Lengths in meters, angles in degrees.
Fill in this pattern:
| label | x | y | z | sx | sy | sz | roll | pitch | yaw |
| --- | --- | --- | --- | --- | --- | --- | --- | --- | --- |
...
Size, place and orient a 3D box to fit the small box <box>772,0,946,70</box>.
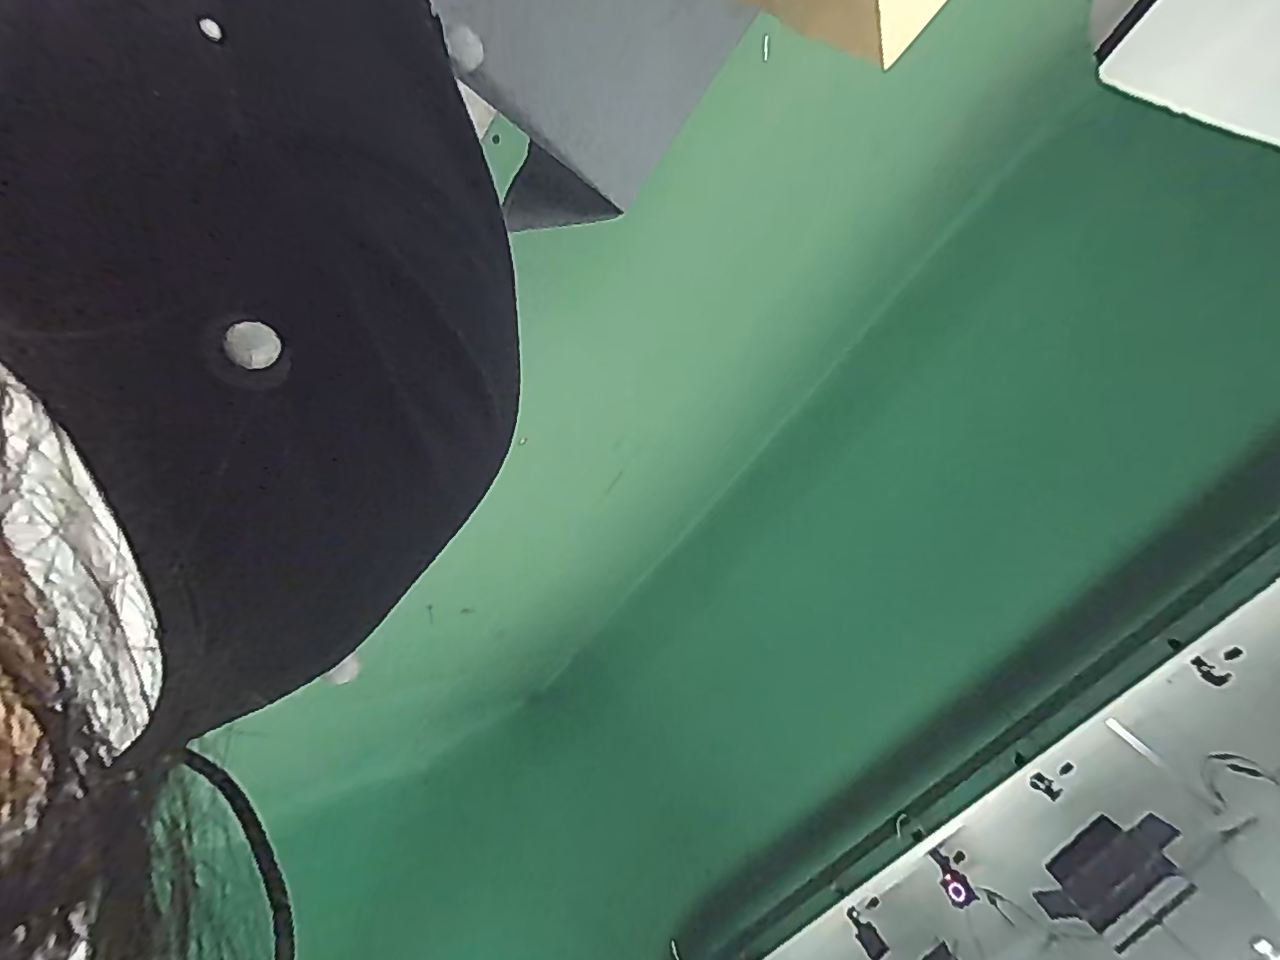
| label | x | y | z | sx | sy | sz | roll | pitch | yaw |
| --- | --- | --- | --- | --- | --- | --- | --- | --- | --- |
| small box | 0.245 | -0.590 | 0.557 | 0.179 | 0.176 | 0.168 | -48 | 153 | 12 |
